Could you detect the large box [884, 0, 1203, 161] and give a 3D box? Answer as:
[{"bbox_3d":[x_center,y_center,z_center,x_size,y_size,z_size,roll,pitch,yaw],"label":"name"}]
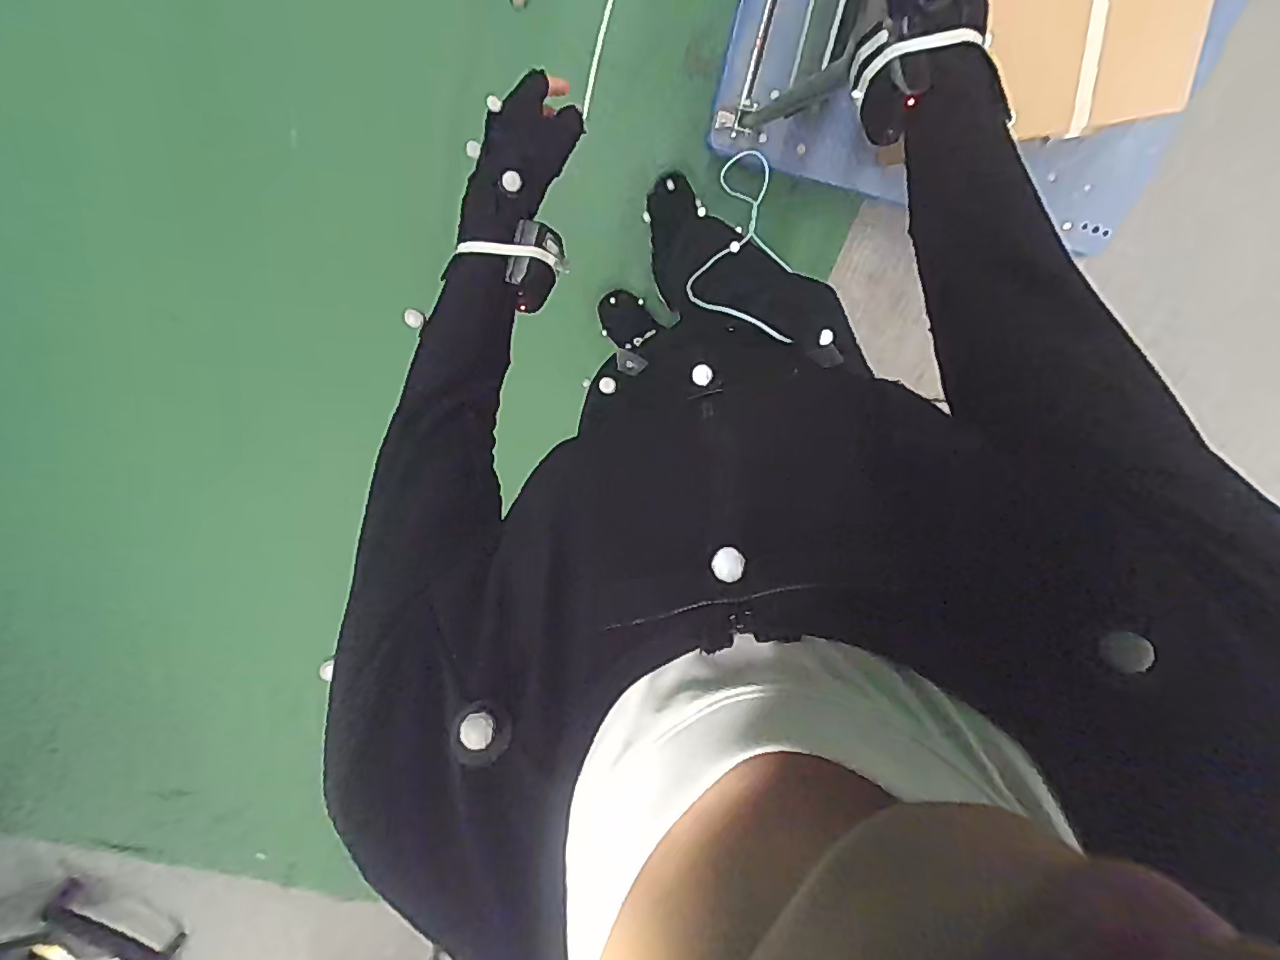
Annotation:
[{"bbox_3d":[0.586,-0.760,0.828,0.320,0.320,0.408,-8,114,4],"label":"large box"}]
